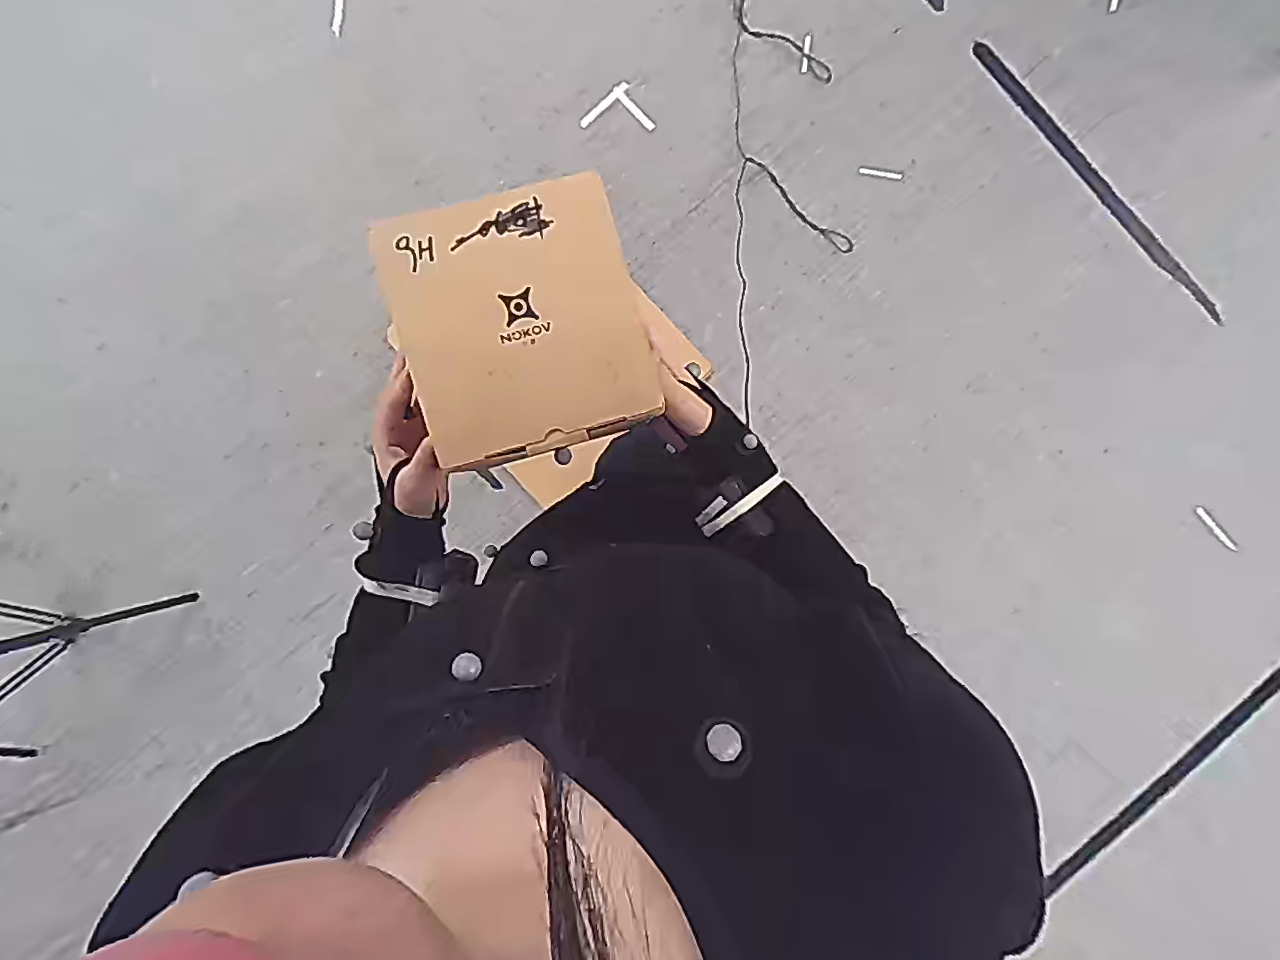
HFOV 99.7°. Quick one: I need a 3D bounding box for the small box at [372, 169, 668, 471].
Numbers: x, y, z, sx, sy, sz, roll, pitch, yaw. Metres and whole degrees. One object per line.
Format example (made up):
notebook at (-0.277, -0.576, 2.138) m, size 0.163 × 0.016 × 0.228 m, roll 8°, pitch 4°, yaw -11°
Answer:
small box at (-0.087, -0.114, 0.447) m, size 0.168 × 0.176 × 0.179 m, roll -16°, pitch 94°, yaw -7°
